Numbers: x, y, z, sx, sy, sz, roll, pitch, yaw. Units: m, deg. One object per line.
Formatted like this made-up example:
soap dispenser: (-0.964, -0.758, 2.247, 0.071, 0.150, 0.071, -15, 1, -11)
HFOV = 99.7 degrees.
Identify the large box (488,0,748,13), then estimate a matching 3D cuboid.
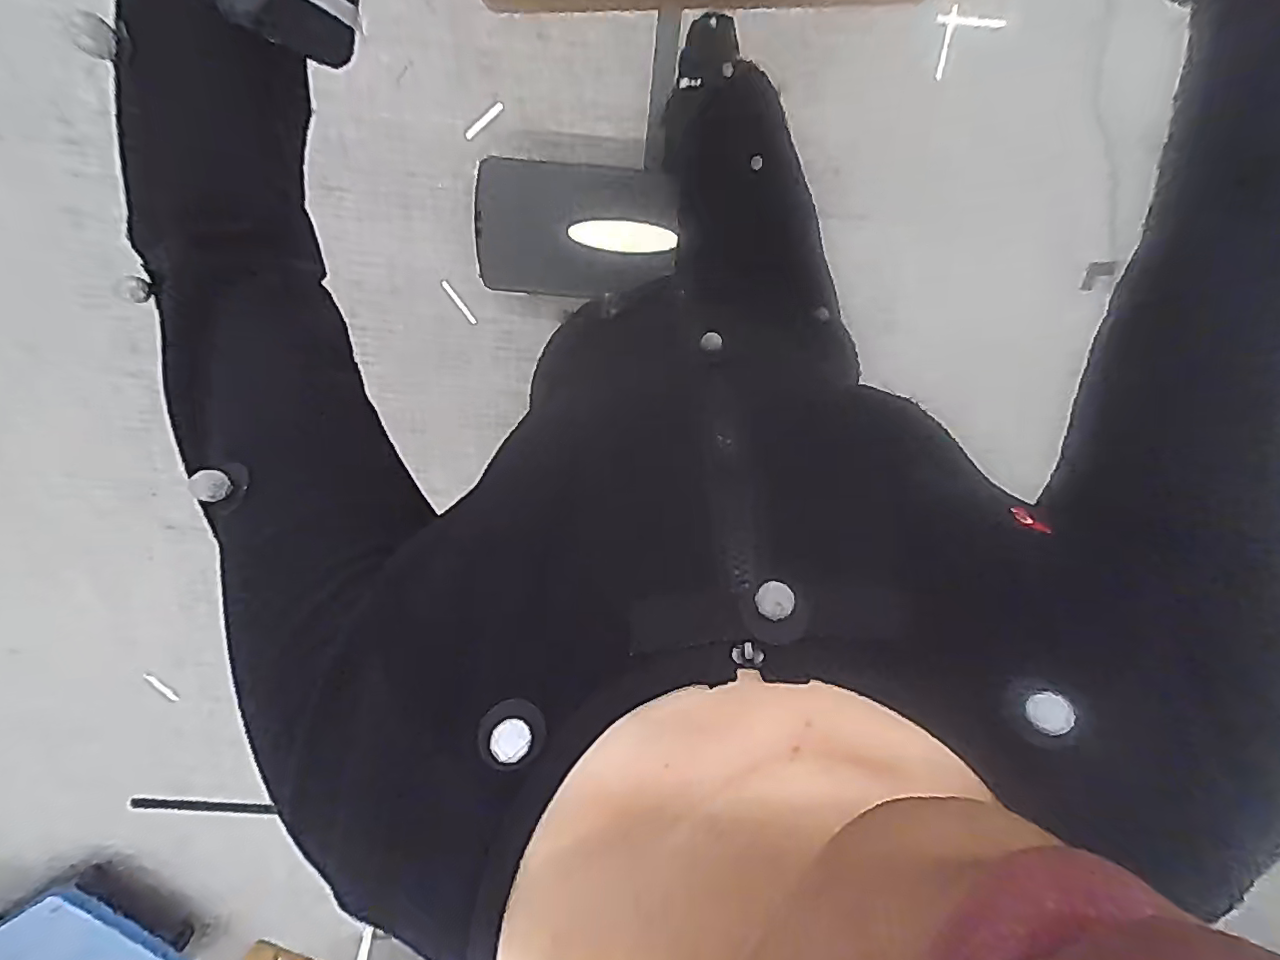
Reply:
large box: (0.056, -0.512, 0.303, 0.408, 0.320, 0.320, -3, 118, -1)
